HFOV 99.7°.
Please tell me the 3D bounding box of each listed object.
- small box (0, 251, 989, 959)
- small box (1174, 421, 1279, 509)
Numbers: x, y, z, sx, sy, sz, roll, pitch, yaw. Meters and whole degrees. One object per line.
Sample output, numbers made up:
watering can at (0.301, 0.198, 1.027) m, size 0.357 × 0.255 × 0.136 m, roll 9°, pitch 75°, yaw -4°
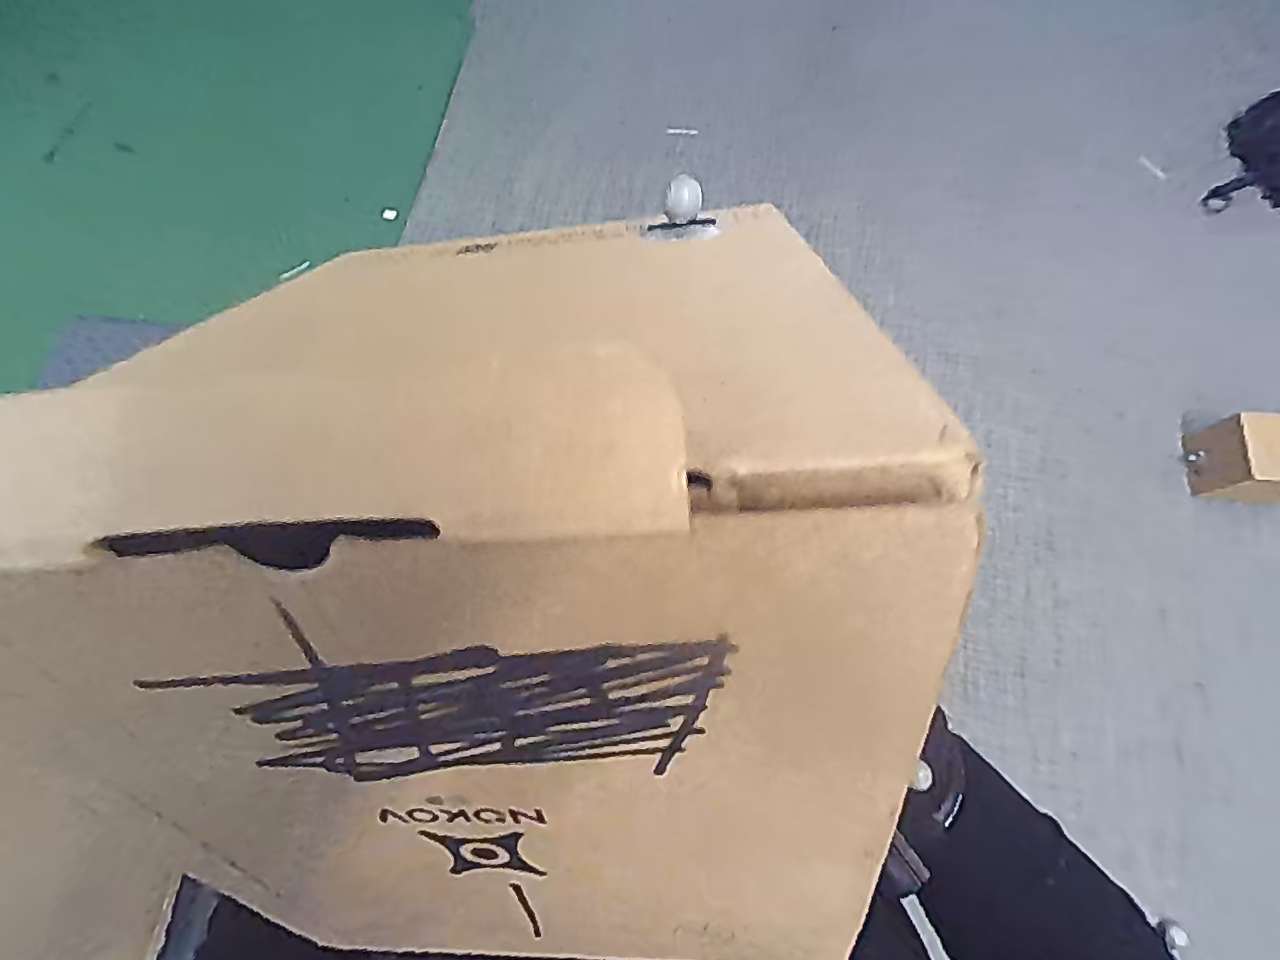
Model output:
small box at (-0.025, 0.032, 0.182) m, size 0.168 × 0.179 × 0.176 m, roll -4°, pitch 34°, yaw 8°
small box at (1.455, -0.030, 1.295) m, size 0.179 × 0.176 × 0.168 m, roll 2°, pitch 72°, yaw 8°
